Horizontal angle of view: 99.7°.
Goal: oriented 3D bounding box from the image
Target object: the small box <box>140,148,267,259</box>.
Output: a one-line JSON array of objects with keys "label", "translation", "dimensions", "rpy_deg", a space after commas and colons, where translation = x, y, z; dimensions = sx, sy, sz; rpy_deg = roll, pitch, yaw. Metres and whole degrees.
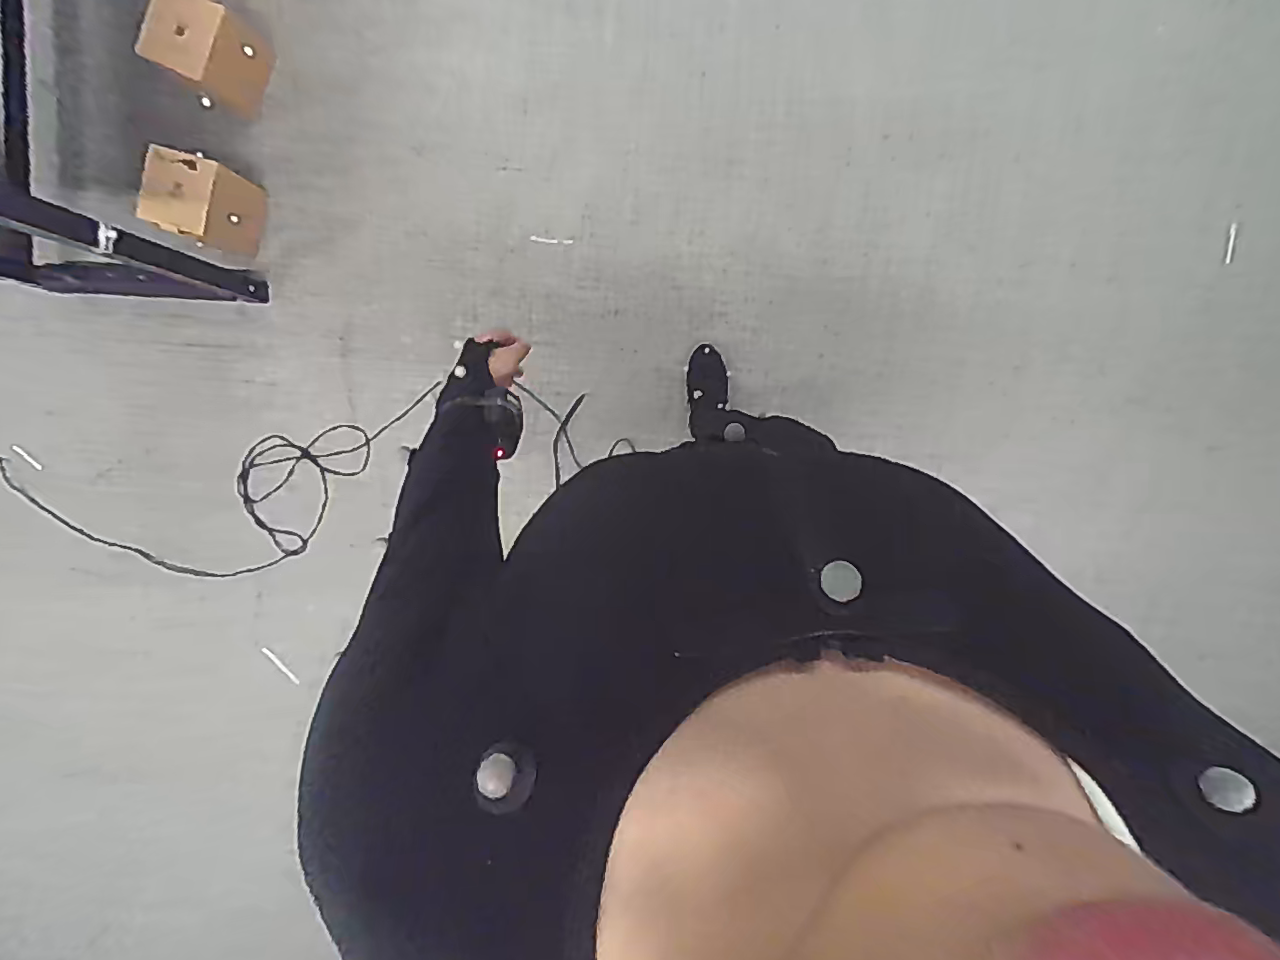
[{"label": "small box", "translation": [-1.064, -0.669, 1.333], "dimensions": [0.168, 0.176, 0.179], "rpy_deg": [16, 96, -1]}]

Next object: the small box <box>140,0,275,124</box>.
[{"label": "small box", "translation": [-1.026, -1.013, 1.300], "dimensions": [0.168, 0.176, 0.179], "rpy_deg": [24, 97, -1]}]
